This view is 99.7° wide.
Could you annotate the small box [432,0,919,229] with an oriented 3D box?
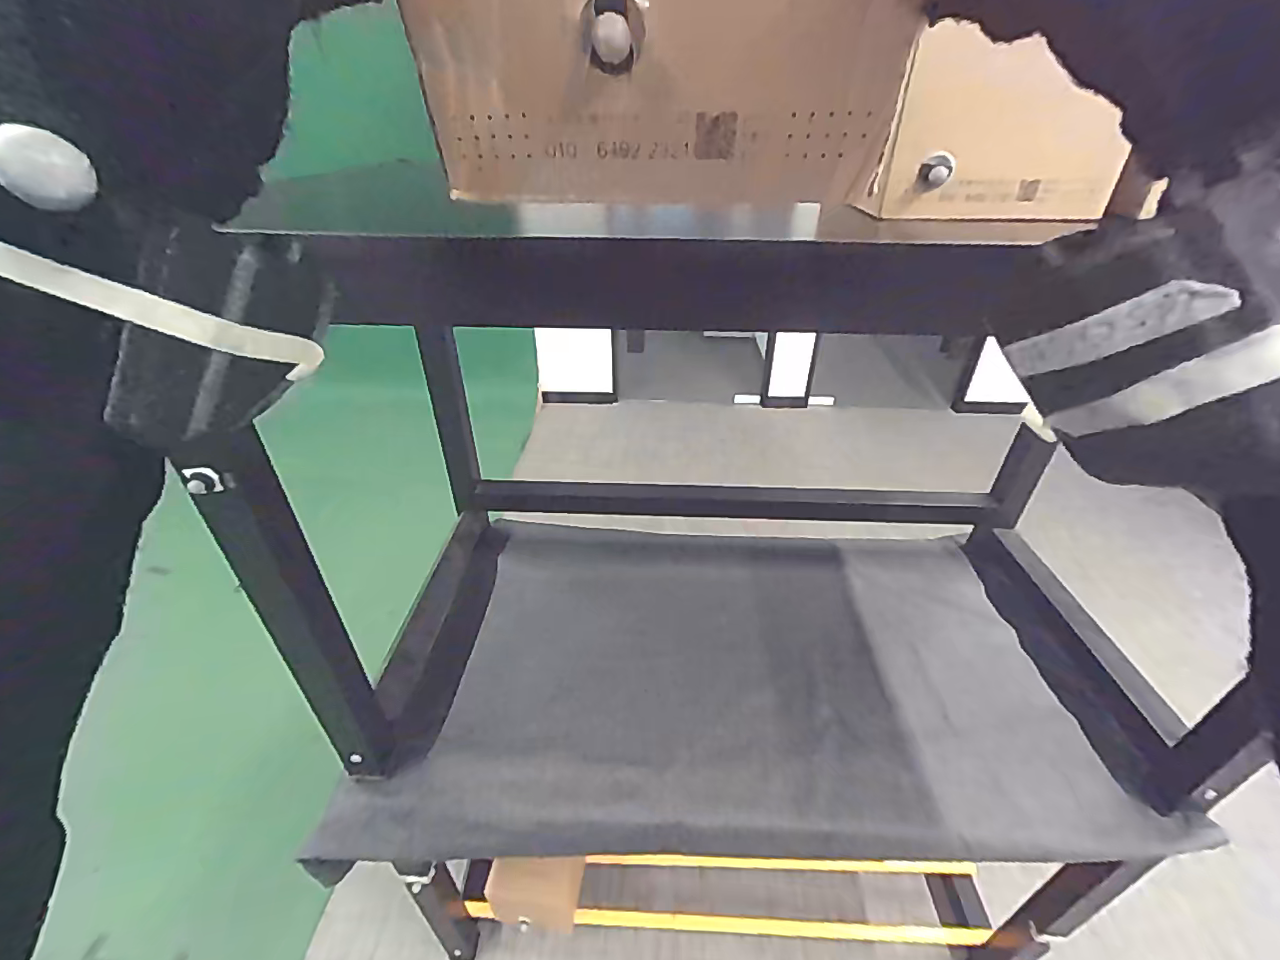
[{"bbox_3d":[0.012,-0.225,0.219,0.168,0.176,0.179,1,51,3],"label":"small box"}]
